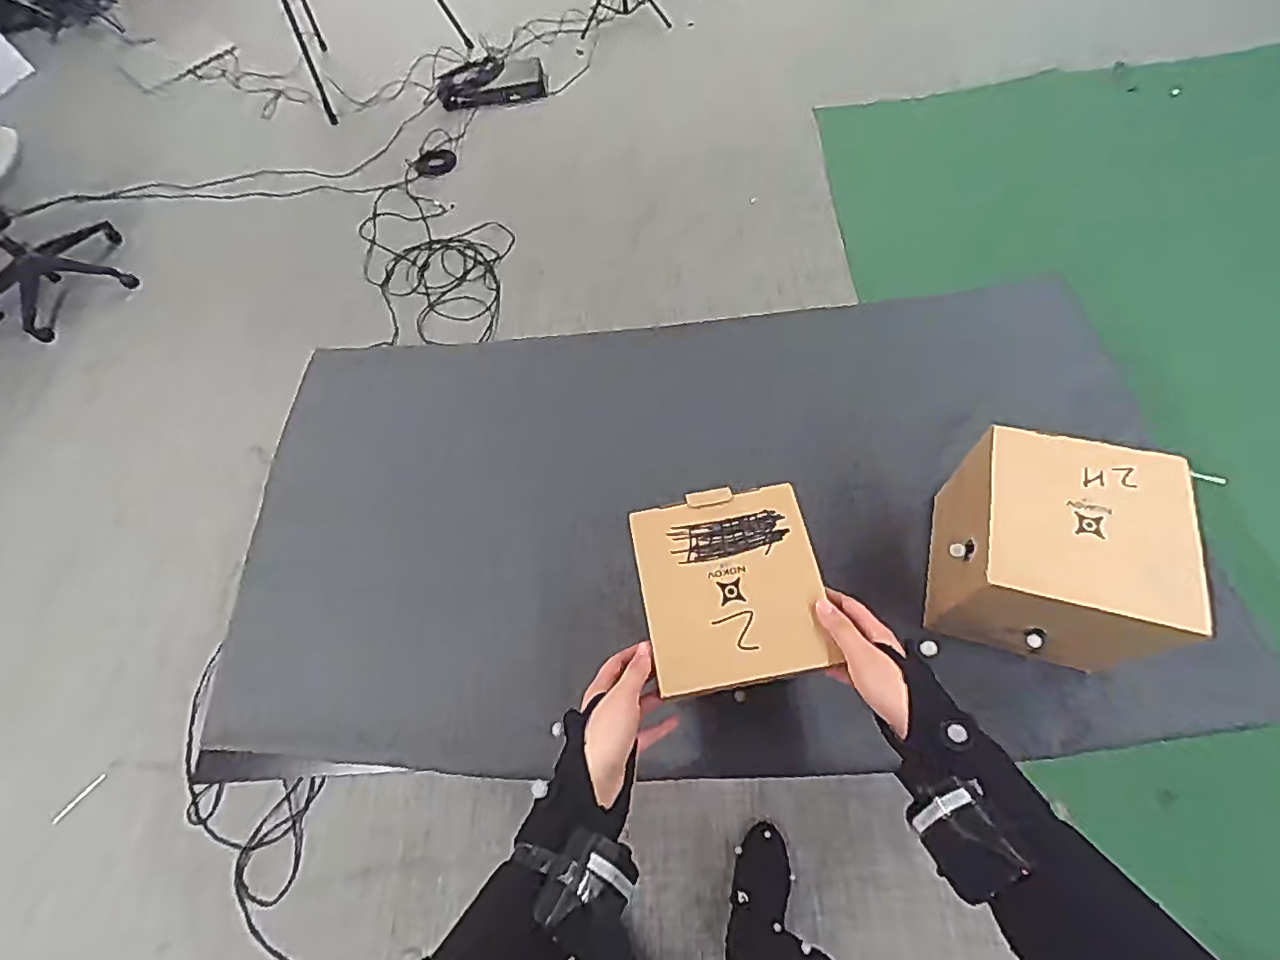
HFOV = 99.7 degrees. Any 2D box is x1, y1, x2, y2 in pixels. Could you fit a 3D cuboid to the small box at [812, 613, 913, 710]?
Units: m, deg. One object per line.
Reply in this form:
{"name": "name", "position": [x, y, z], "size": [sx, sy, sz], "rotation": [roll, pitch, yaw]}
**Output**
{"name": "small box", "position": [0.484, 0.407, 1.197], "size": [0.179, 0.176, 0.168], "rotation": [7, 65, 9]}

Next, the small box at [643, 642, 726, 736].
{"name": "small box", "position": [0.102, 0.475, 1.218], "size": [0.168, 0.176, 0.179], "rotation": [-8, 62, 4]}

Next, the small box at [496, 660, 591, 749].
{"name": "small box", "position": [-0.212, 0.518, 1.243], "size": [0.168, 0.176, 0.179], "rotation": [-2, 63, 7]}

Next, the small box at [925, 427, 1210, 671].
{"name": "small box", "position": [0.408, 0.077, 0.549], "size": [0.168, 0.176, 0.179], "rotation": [14, 64, 14]}
